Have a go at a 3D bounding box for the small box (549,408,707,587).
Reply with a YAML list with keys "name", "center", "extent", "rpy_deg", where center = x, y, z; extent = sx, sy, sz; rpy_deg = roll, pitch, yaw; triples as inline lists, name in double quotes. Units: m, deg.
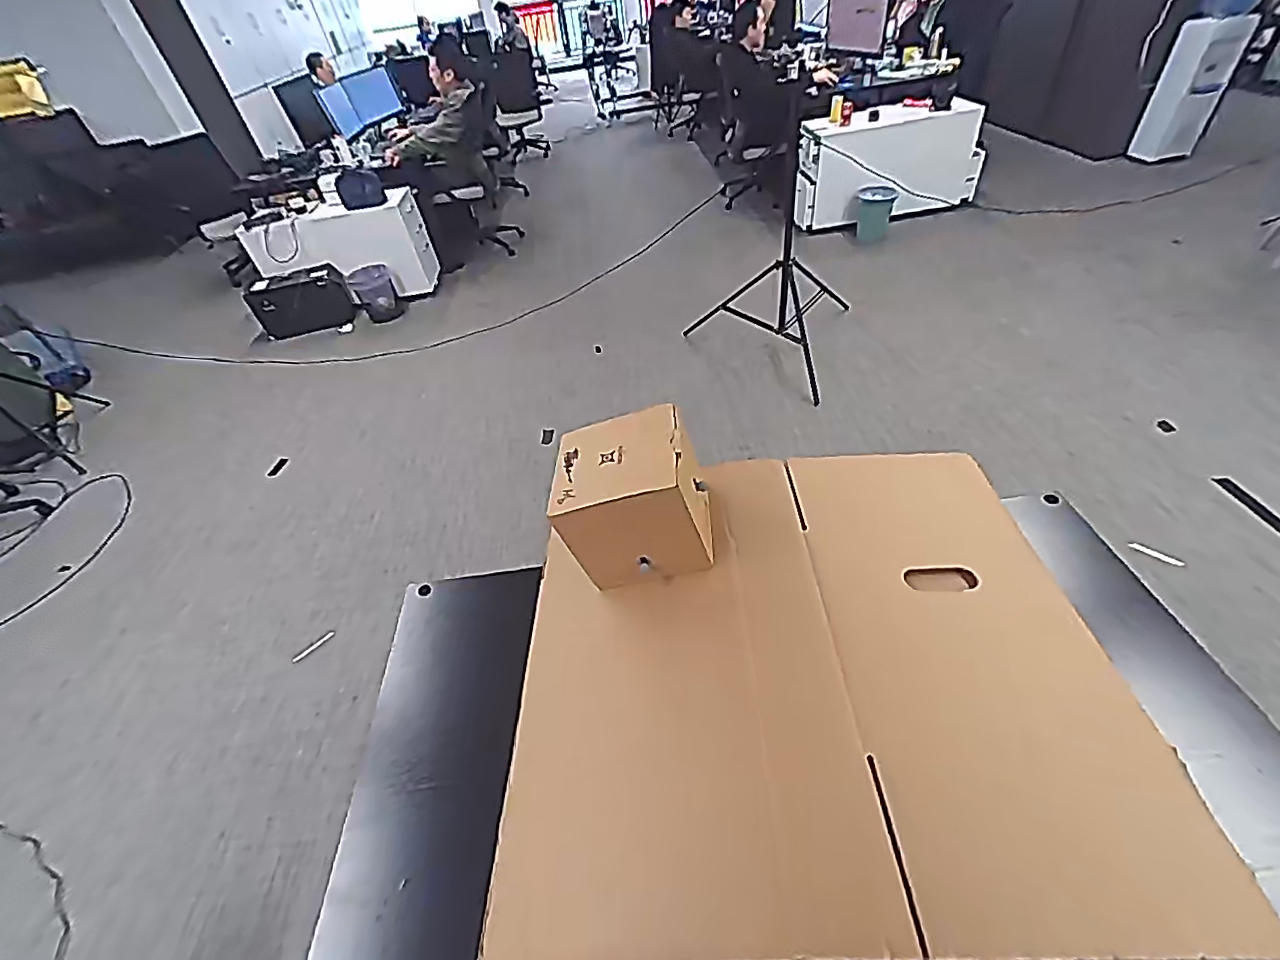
- name: "small box"
  center: [-0.006, 0.030, 0.769]
  extent: [0.179, 0.176, 0.168]
  rpy_deg: [-14, 42, 14]
